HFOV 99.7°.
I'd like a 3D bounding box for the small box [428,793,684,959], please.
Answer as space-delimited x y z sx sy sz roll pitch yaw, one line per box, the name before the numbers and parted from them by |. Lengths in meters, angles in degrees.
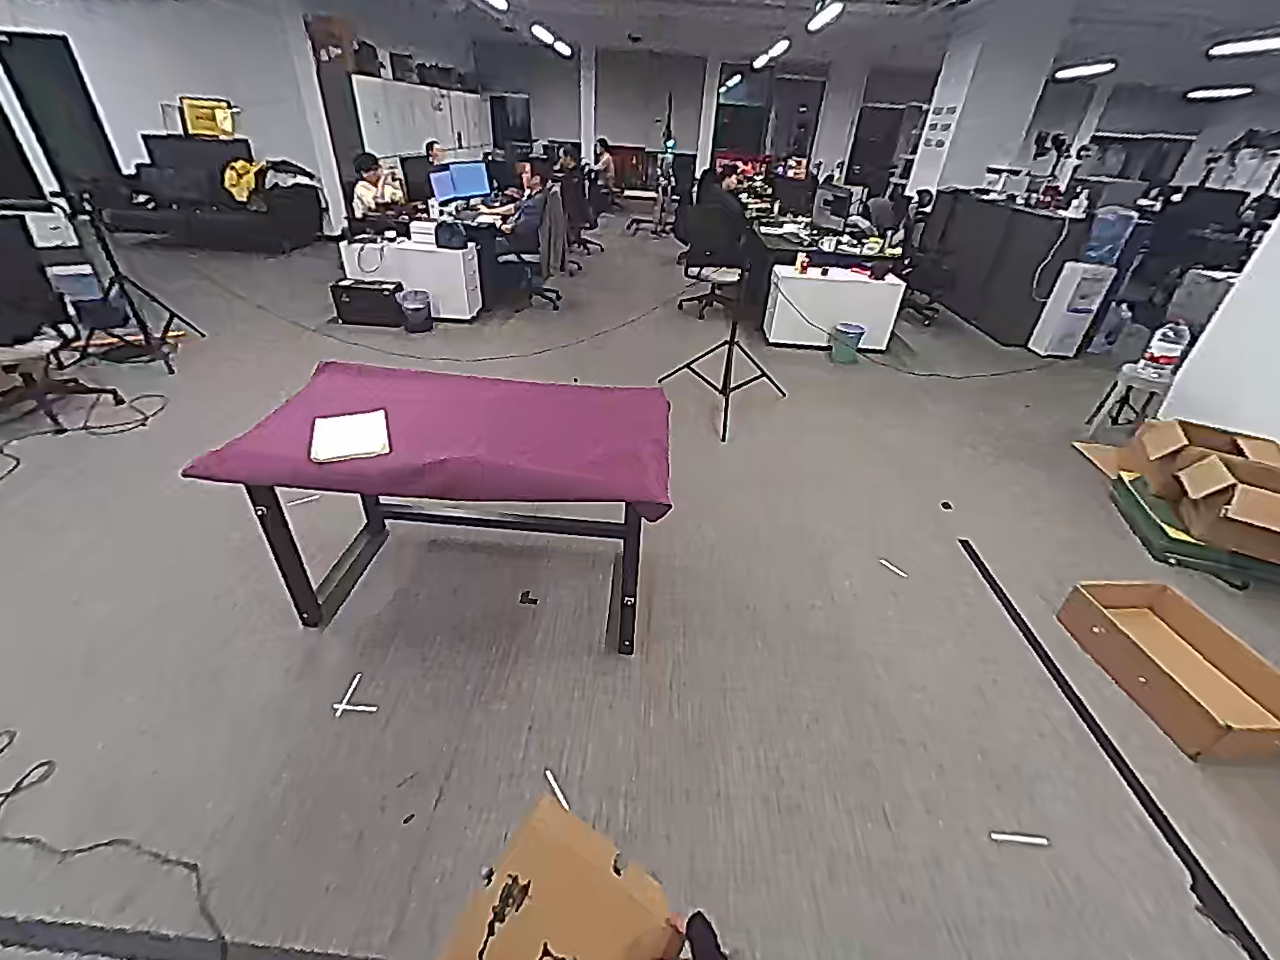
small box | -0.083 0.443 0.539 0.179 0.176 0.168 34 67 8
